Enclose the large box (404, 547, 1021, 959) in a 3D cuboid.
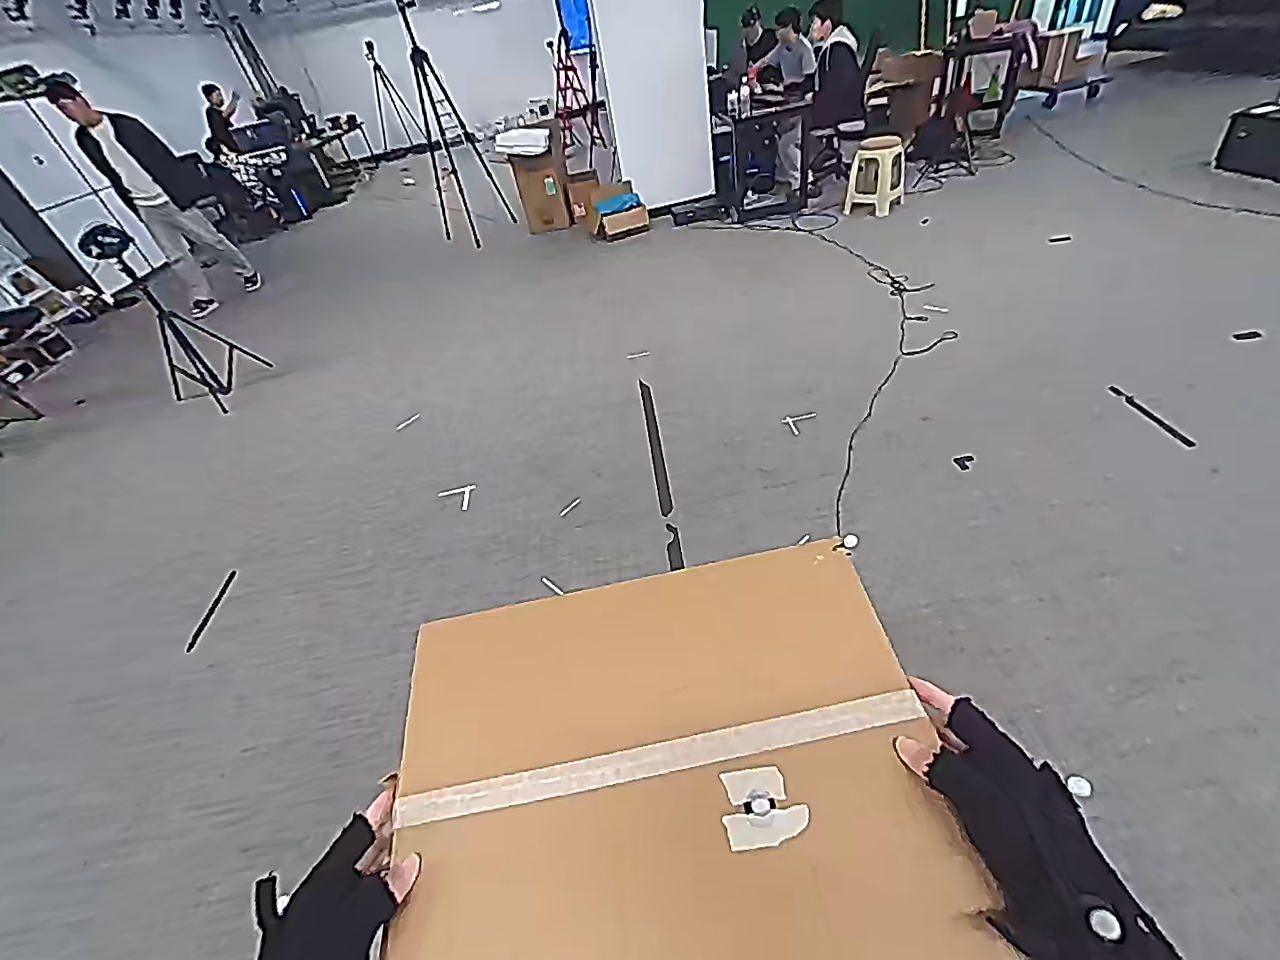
[{"bbox_3d":[0.038,0.314,0.538,0.408,0.320,0.320,-12,50,1],"label":"large box"}]
